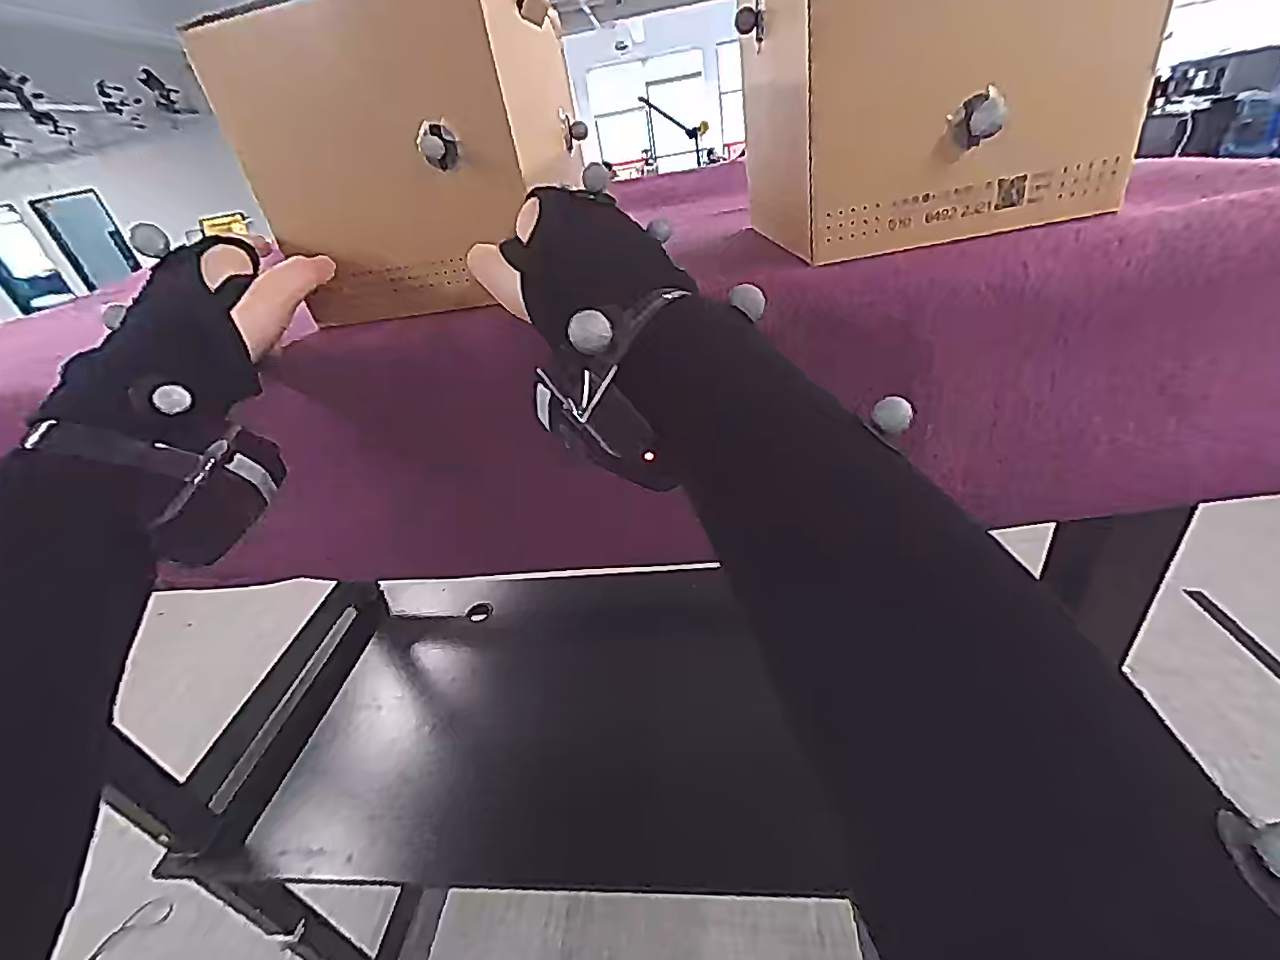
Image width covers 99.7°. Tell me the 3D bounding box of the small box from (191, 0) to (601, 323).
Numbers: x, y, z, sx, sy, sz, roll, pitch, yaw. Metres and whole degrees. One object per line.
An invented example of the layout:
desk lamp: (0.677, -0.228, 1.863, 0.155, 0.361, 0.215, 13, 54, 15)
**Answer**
small box: (-0.135, -0.222, 0.380, 0.179, 0.176, 0.168, -4, 31, 12)

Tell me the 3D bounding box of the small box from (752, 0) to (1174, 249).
small box: (0.163, -0.246, 0.324, 0.168, 0.176, 0.179, -9, 31, 4)
